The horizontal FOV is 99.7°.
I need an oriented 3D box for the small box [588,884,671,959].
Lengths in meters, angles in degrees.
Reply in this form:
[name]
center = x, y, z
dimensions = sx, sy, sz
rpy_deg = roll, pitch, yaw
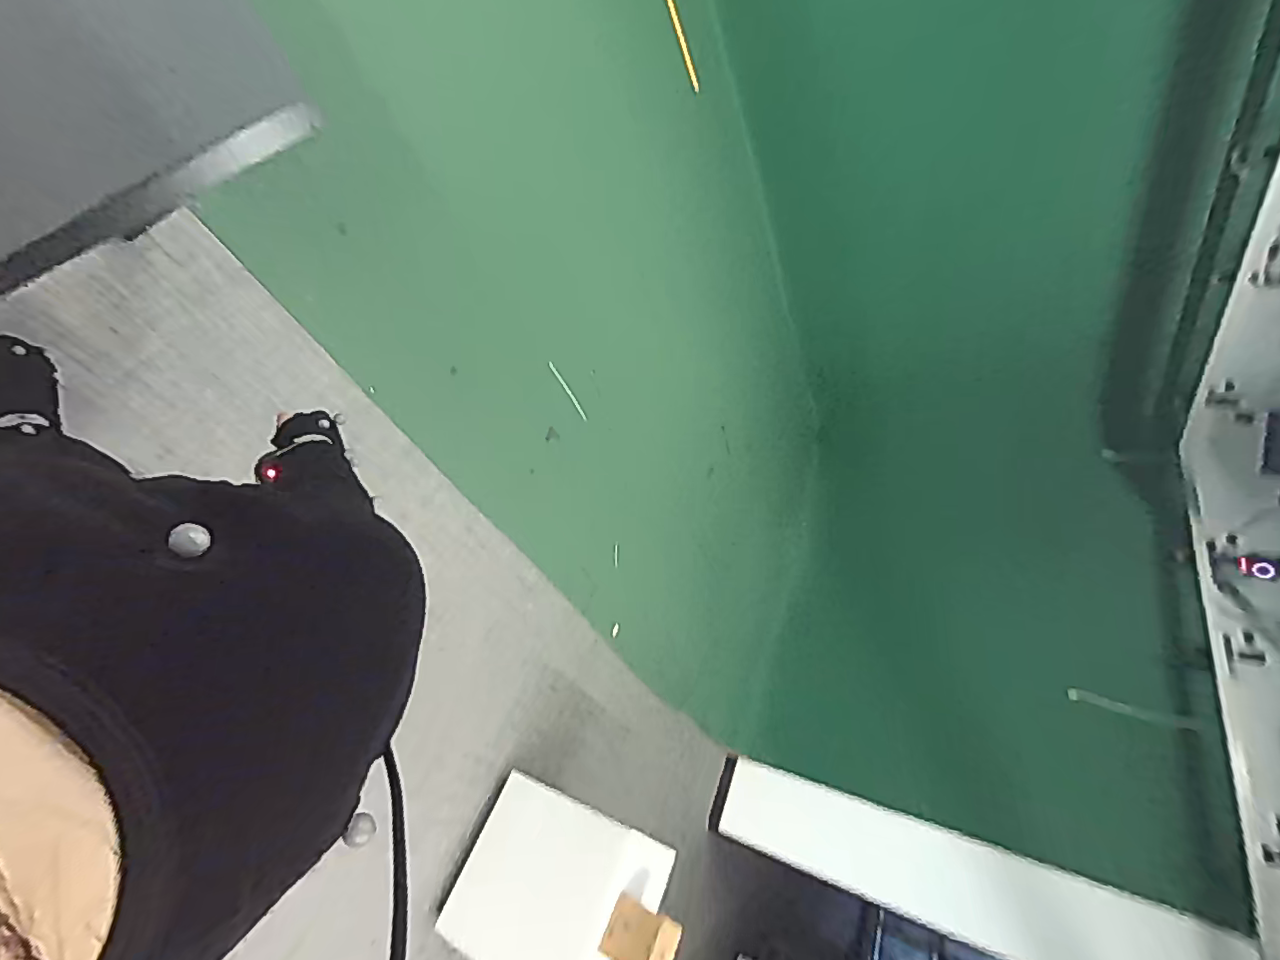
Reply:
[small box]
center = -0.031, 1.396, 1.675
dimensions = 0.168, 0.176, 0.179
rpy_deg = -58, 138, -36
